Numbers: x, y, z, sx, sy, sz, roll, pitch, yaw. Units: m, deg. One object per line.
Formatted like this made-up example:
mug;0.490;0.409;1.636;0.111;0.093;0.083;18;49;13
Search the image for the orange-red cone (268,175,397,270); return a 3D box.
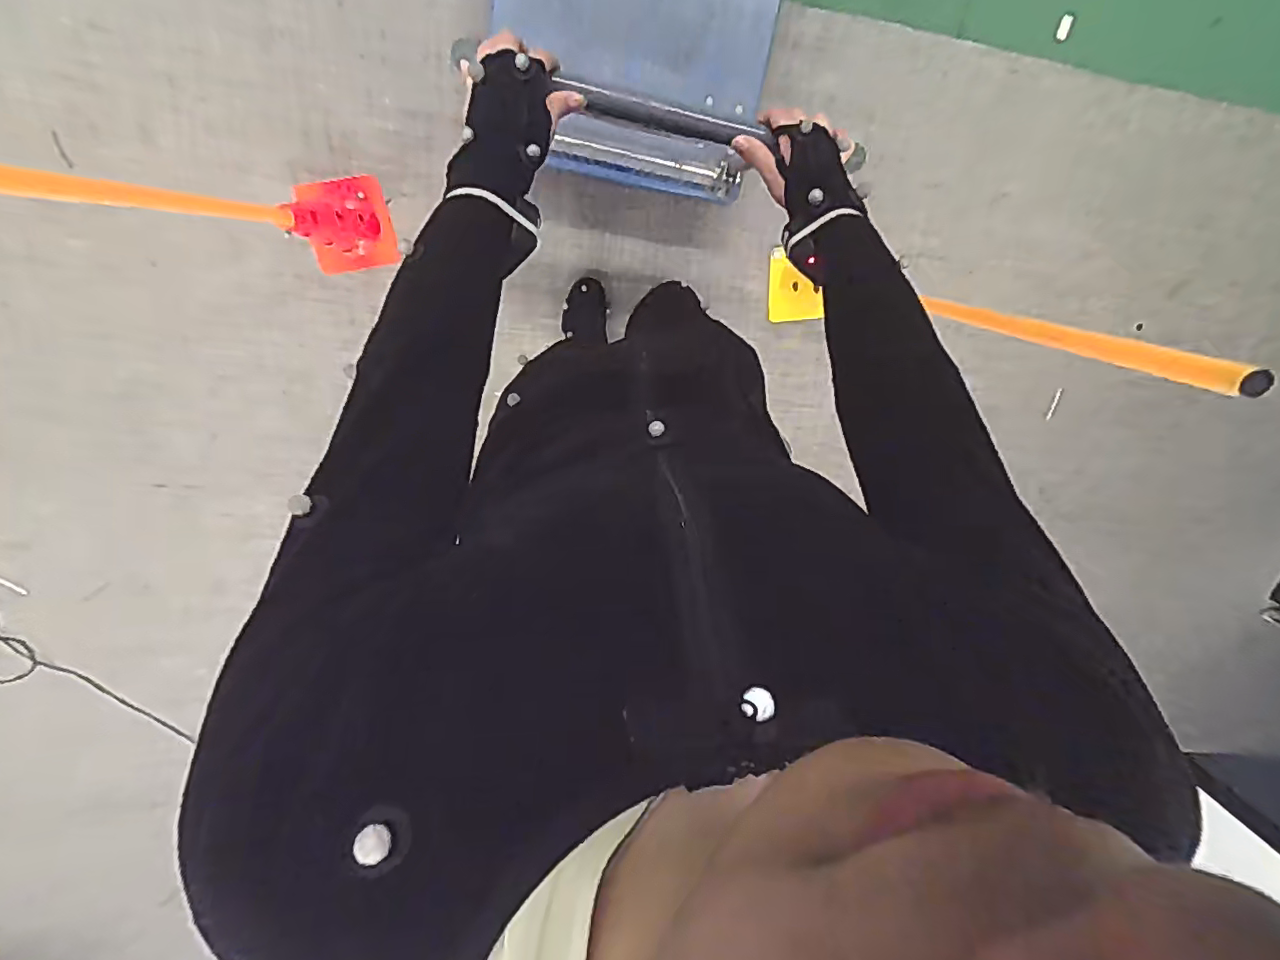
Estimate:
orange-red cone;-0.688;-0.556;1.153;0.199;0.360;0.198;-10;114;-3
